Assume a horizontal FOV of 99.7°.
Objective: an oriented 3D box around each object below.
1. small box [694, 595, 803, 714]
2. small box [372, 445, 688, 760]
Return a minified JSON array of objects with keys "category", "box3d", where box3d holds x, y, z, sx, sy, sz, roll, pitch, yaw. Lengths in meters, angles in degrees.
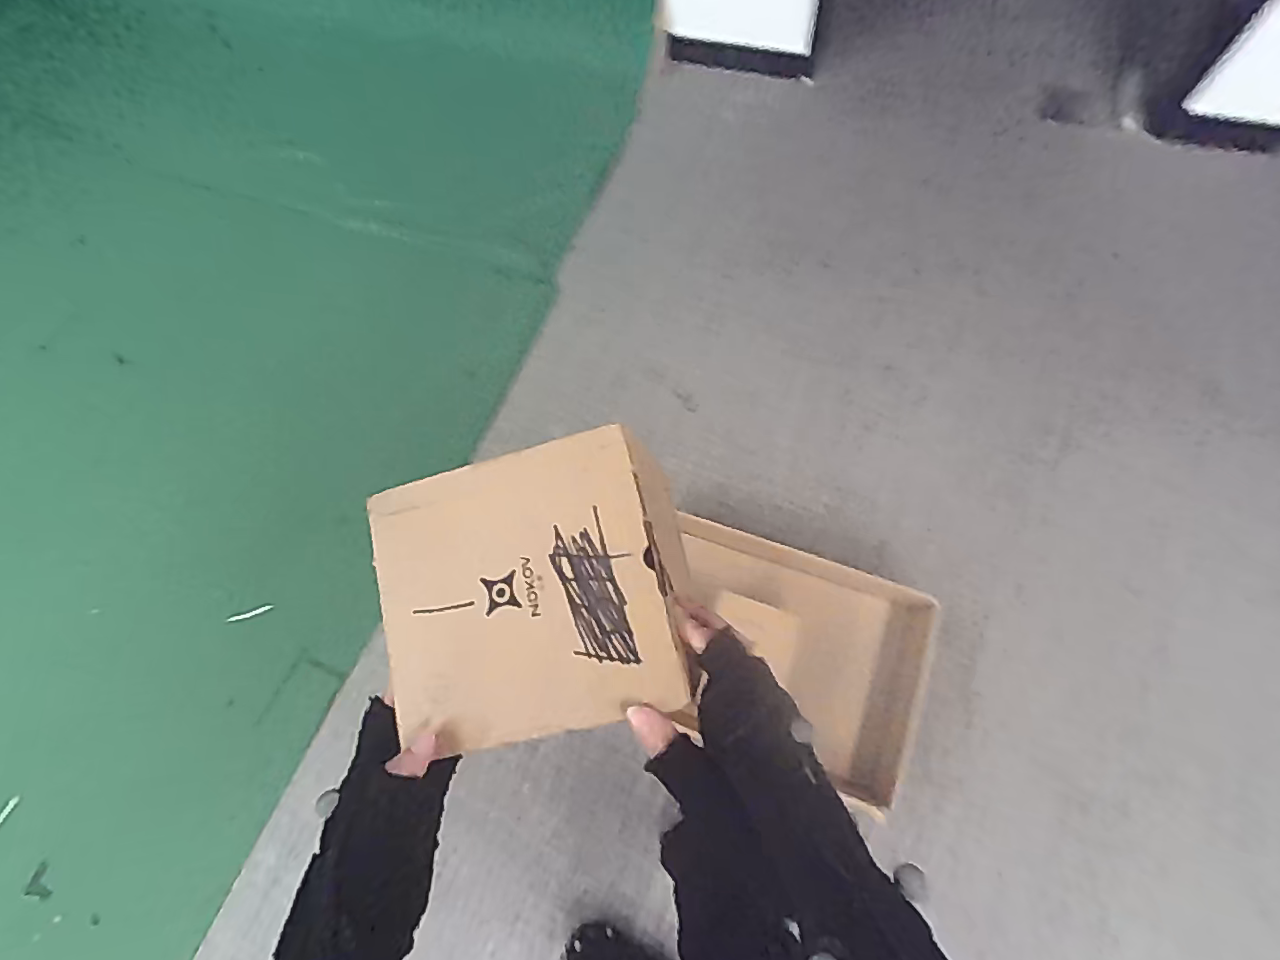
[{"category":"small box","box3d":[0.216,0.352,1.094,0.168,0.176,0.179,17,73,13]},{"category":"small box","box3d":[-0.065,0.087,0.413,0.179,0.176,0.168,-15,78,9]}]
